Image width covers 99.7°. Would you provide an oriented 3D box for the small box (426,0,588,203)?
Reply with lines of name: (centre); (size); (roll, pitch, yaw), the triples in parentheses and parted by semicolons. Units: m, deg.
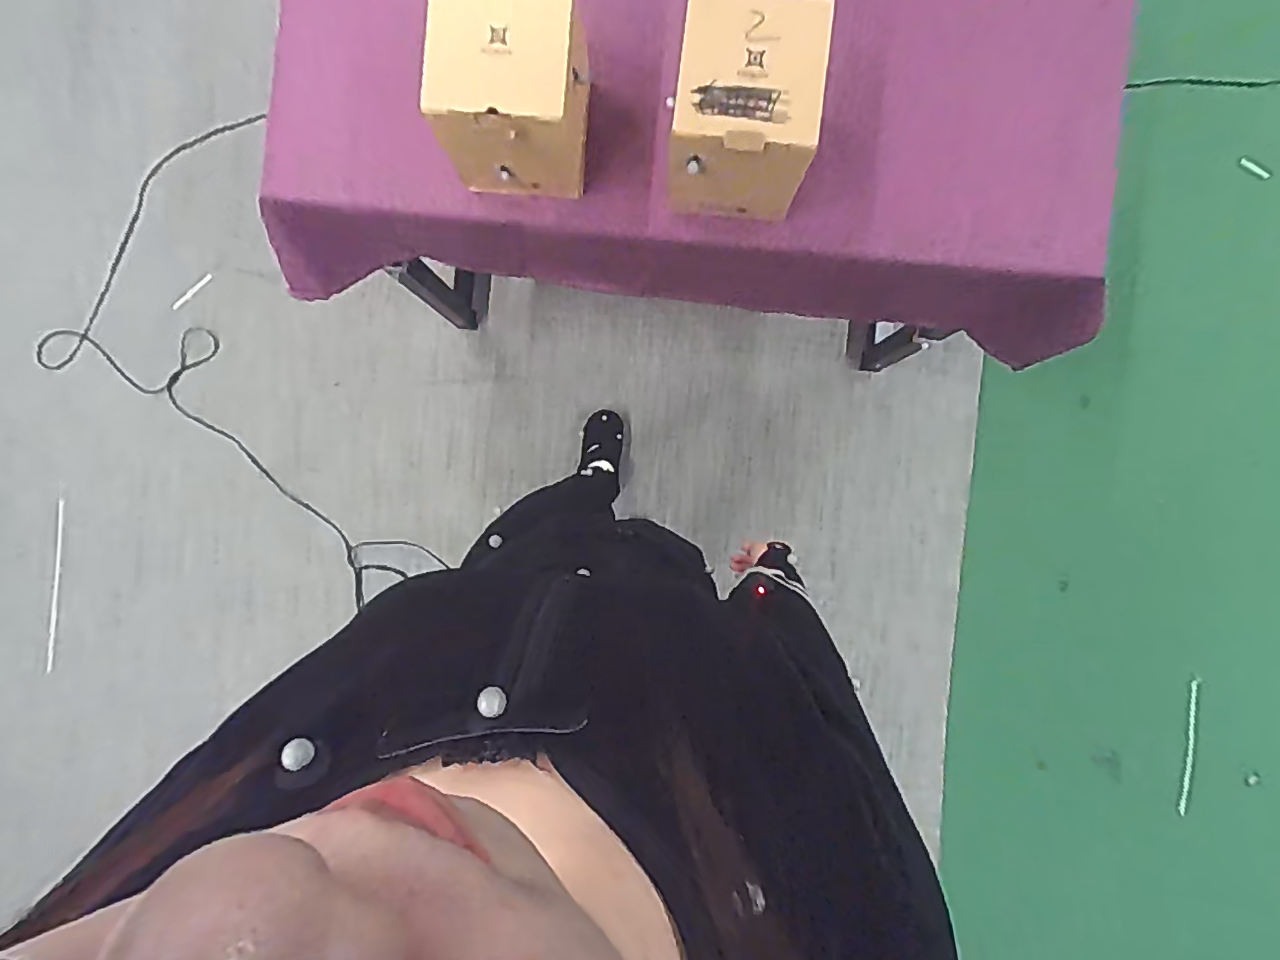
small box: (-0.161, -0.499, 0.710); (0.168, 0.176, 0.179); (4, 90, 1)
